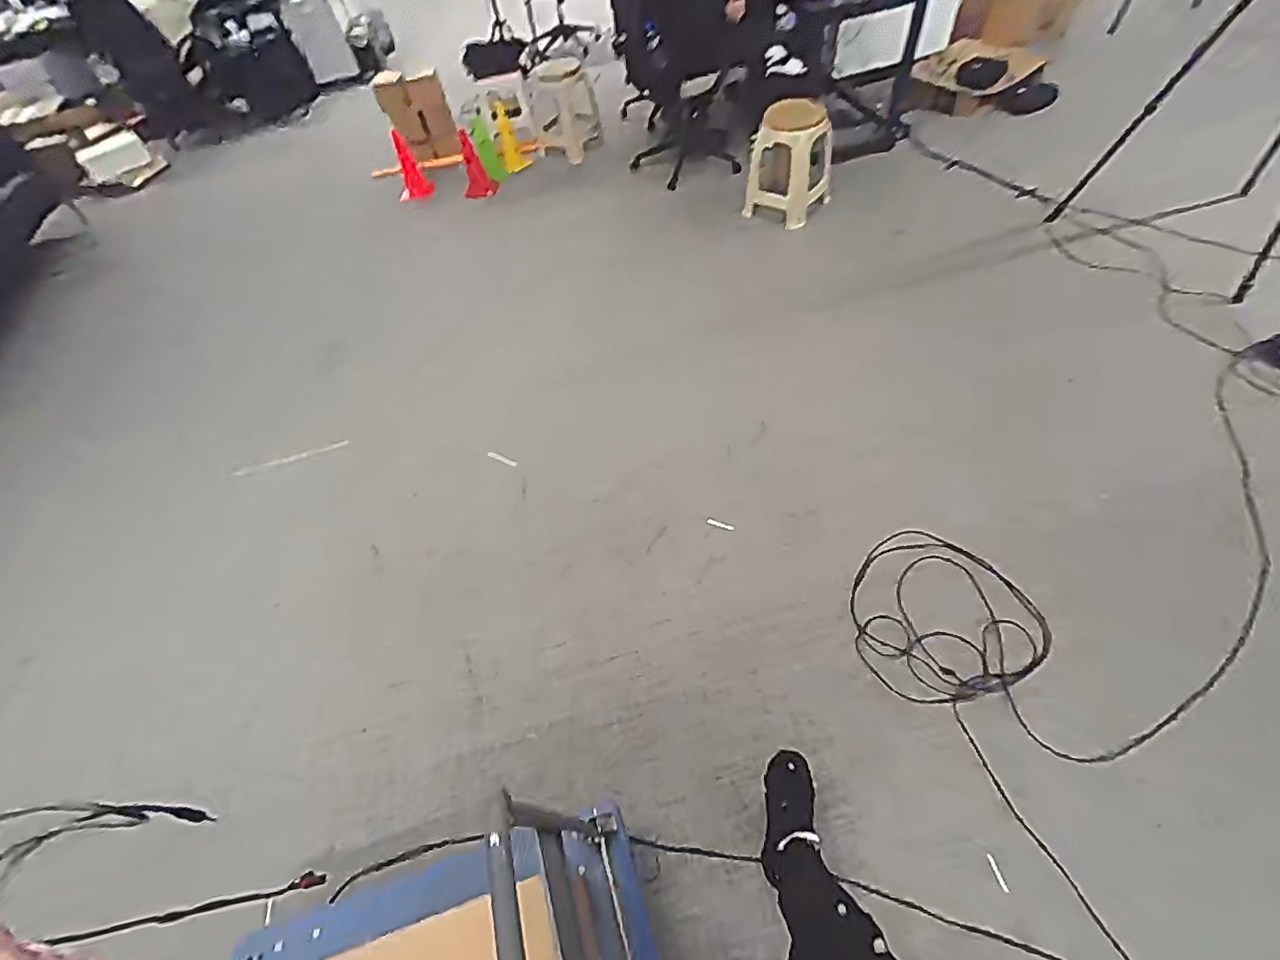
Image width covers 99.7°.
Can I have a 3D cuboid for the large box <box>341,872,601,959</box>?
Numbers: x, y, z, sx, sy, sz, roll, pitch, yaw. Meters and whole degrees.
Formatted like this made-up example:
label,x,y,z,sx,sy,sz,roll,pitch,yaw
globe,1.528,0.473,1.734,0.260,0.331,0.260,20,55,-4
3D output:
label,x,y,z,sx,sy,sz,roll,pitch,yaw
large box,-0.277,0.934,0.932,0.408,0.320,0.320,-19,54,-5
